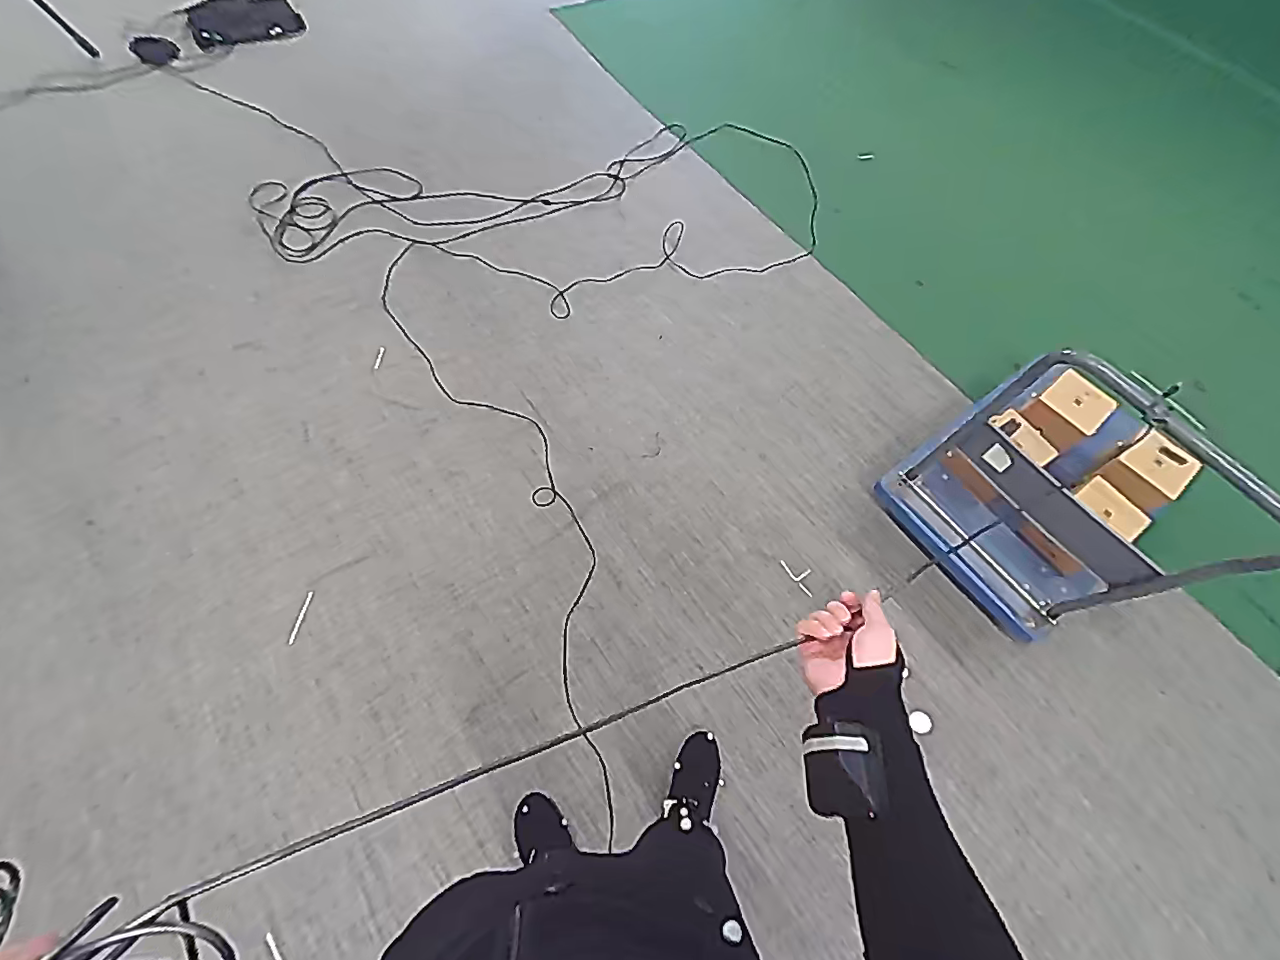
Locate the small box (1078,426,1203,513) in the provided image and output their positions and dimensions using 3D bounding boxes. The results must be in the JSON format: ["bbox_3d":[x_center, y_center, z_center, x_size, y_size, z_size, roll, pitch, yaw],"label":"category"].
[{"bbox_3d":[1.415,-0.016,1.541,0.179,0.176,0.168,-37,71,-18],"label":"small box"}]

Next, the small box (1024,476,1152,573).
[{"bbox_3d":[1.198,0.123,1.461,0.179,0.176,0.168,-32,70,-16],"label":"small box"}]

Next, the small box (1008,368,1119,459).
[{"bbox_3d":[1.251,-0.192,1.616,0.179,0.176,0.168,-36,72,-19],"label":"small box"}]
